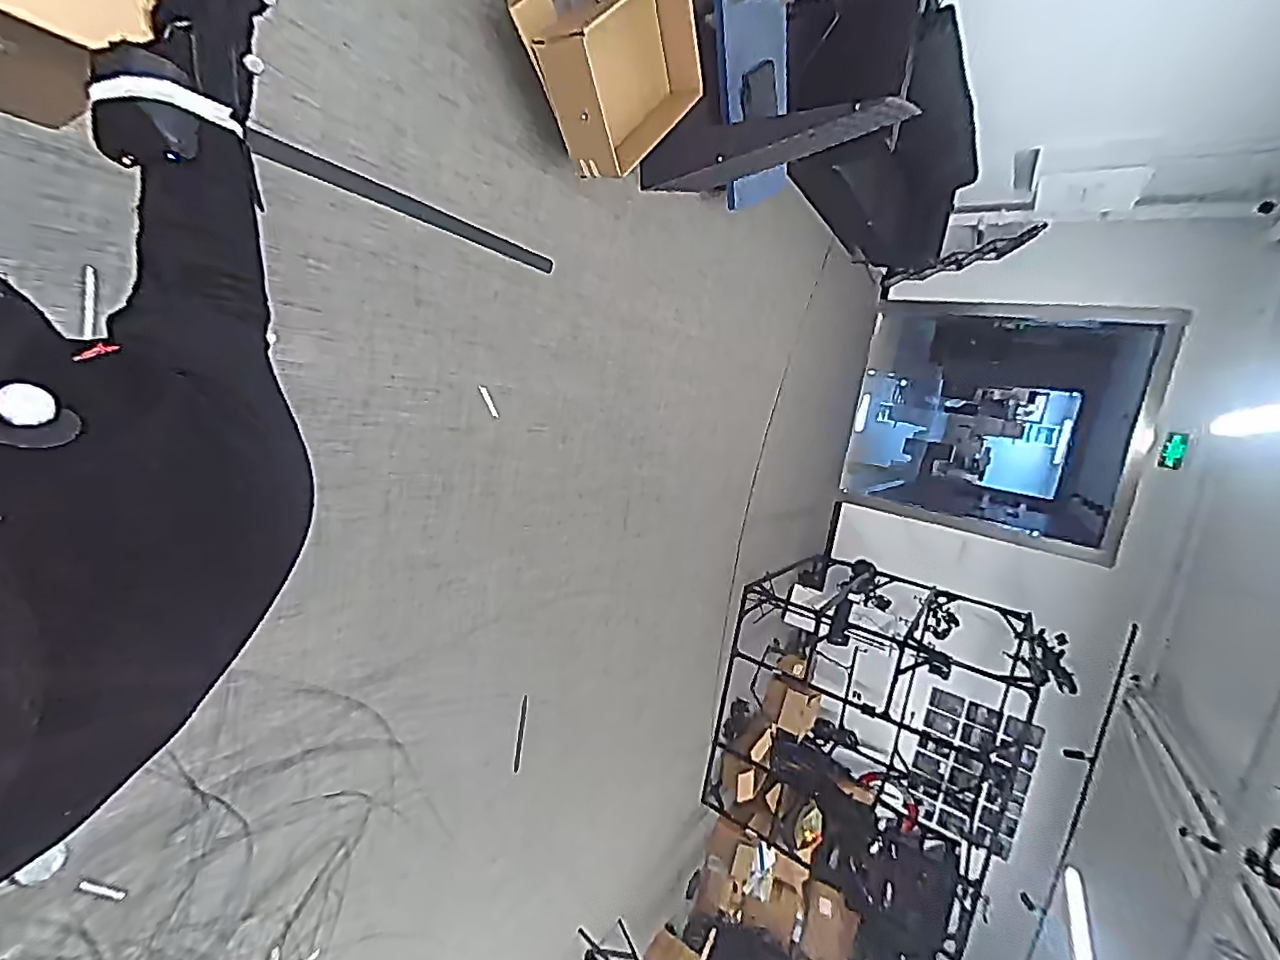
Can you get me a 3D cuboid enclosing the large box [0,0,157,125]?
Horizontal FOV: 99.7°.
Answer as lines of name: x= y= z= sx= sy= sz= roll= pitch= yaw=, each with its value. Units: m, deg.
large box: x=-0.569 y=-0.465 z=0.290 sx=0.408 sy=0.320 sz=0.320 roll=-4 pitch=107 yaw=-56
